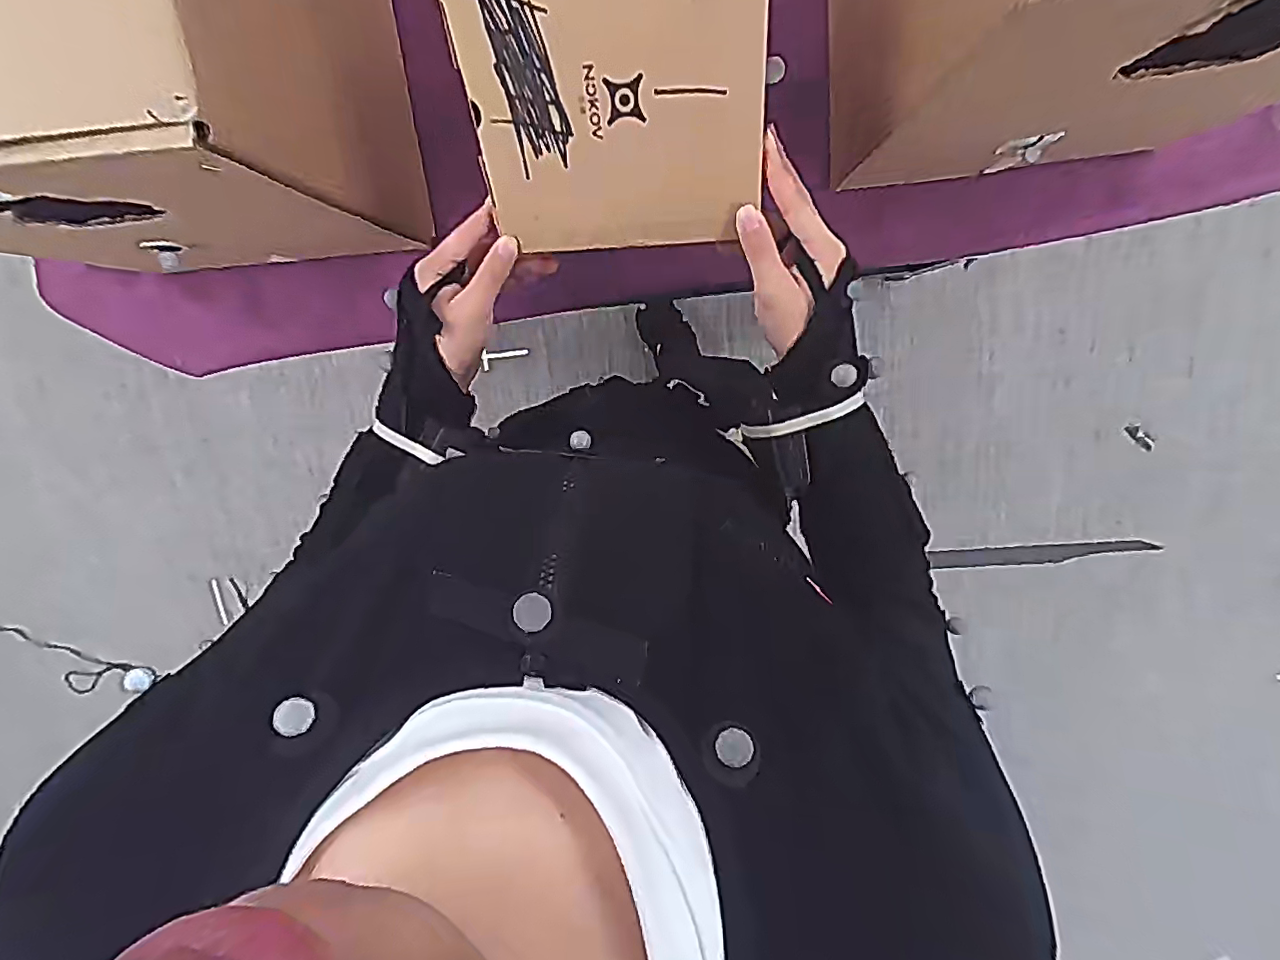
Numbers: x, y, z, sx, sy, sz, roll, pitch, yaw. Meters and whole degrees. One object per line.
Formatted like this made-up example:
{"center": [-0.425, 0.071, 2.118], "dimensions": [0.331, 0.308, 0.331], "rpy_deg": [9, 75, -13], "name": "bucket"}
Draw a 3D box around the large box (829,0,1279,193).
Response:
{"center": [0.309, -0.456, 0.334], "dimensions": [0.320, 0.320, 0.408], "rpy_deg": [-6, 102, 4], "name": "large box"}
